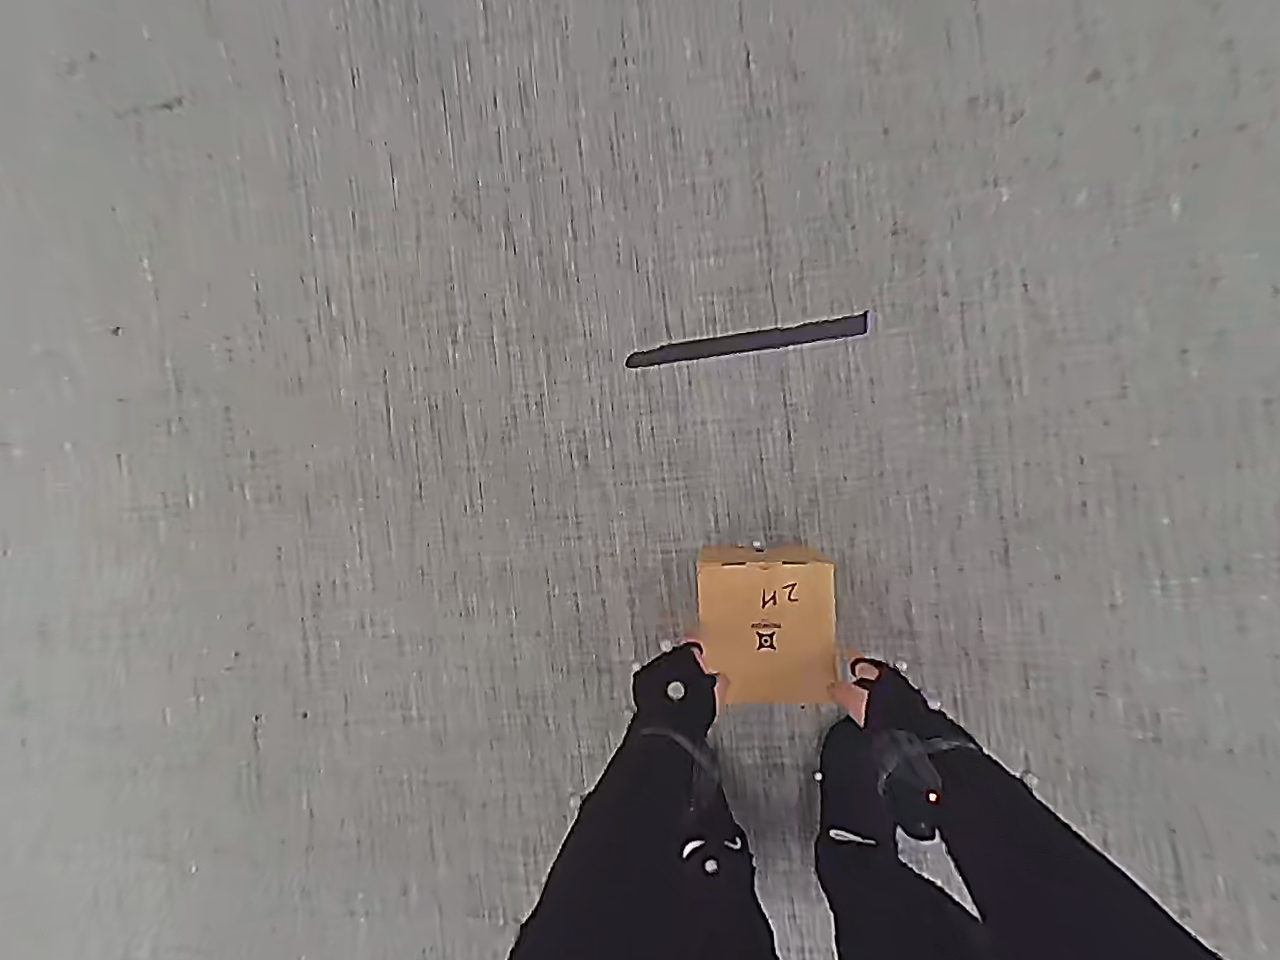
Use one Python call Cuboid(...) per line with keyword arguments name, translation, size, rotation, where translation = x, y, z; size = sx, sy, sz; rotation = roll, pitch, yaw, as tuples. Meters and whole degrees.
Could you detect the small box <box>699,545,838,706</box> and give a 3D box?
Cuboid(name="small box", translation=(0.167, 0.186, 0.736), size=(0.168, 0.176, 0.179), rotation=(-2, 89, 7))
